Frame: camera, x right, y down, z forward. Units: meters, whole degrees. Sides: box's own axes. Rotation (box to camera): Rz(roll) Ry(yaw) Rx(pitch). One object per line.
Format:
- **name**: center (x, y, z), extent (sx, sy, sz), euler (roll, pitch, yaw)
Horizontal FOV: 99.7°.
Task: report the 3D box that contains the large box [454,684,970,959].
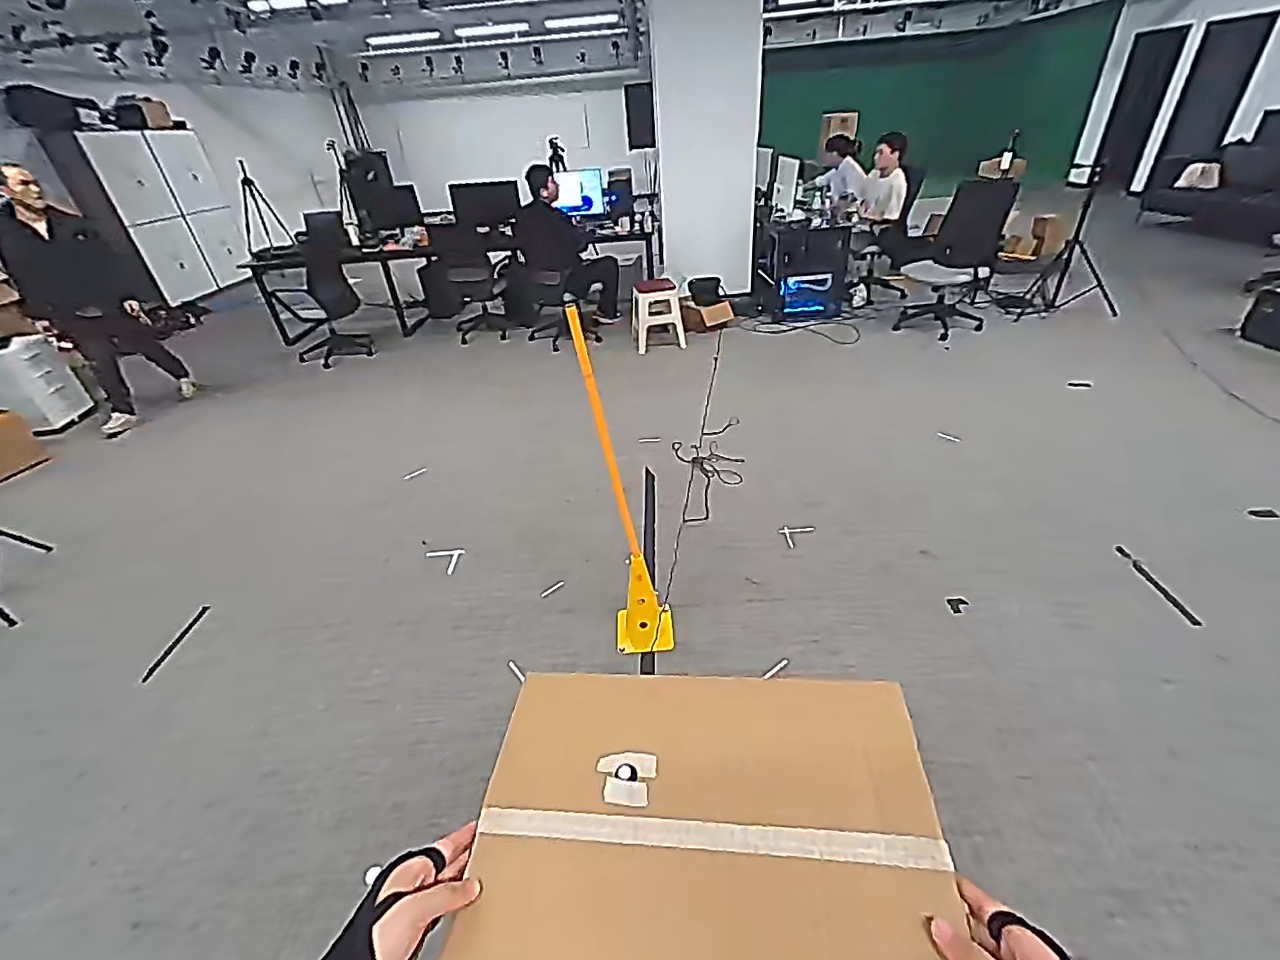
- **large box**: center (0.078, 0.438, 0.567), extent (0.408, 0.320, 0.320), euler (-4, 36, 11)
